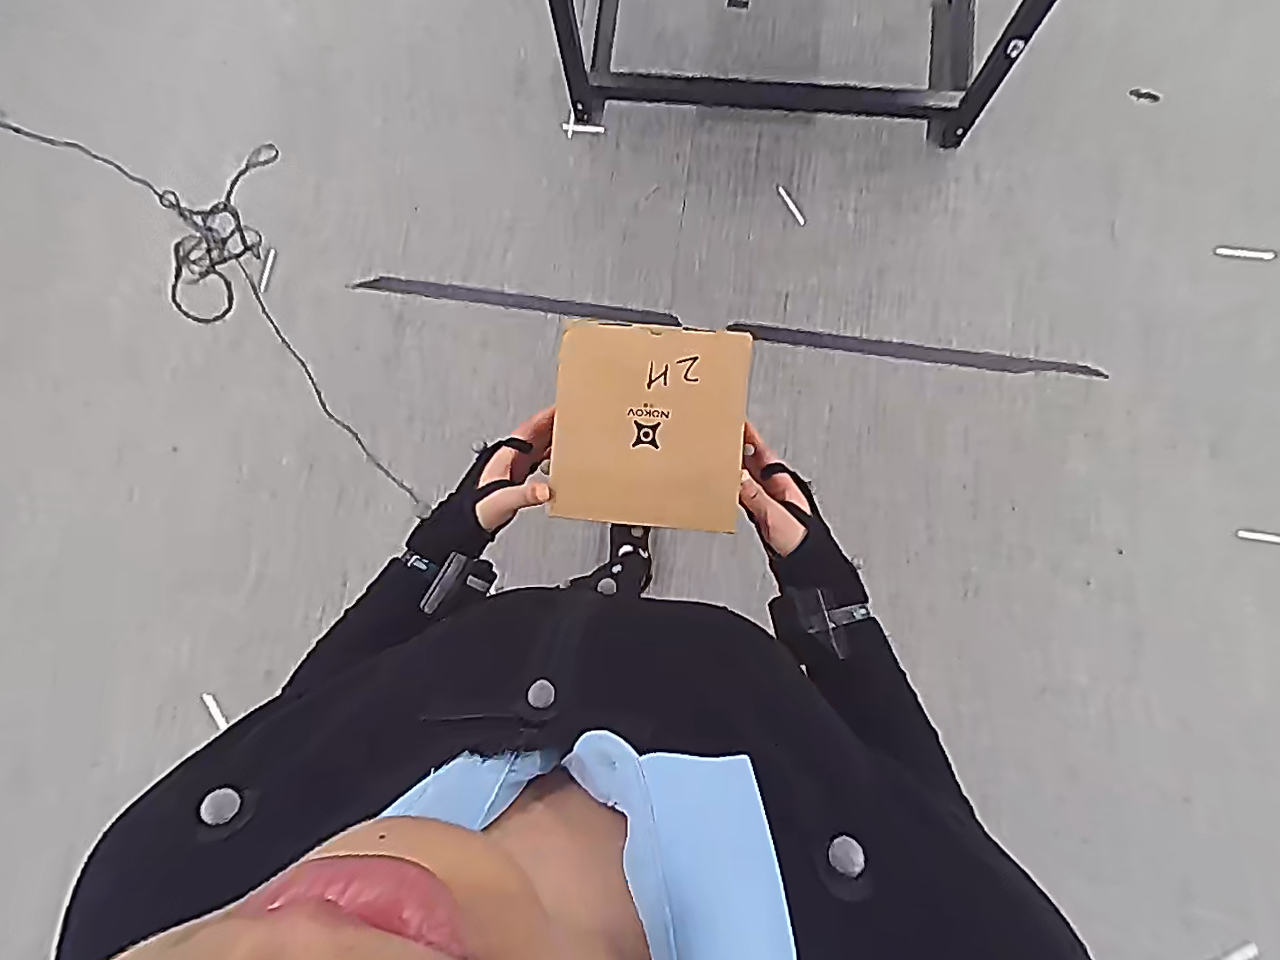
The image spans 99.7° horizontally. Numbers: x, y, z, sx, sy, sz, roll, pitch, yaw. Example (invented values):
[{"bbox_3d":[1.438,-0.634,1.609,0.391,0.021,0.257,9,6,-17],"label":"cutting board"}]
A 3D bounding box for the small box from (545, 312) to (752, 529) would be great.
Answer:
[{"bbox_3d":[0.011,-0.049,0.542,0.168,0.176,0.179,5,87,2],"label":"small box"}]
